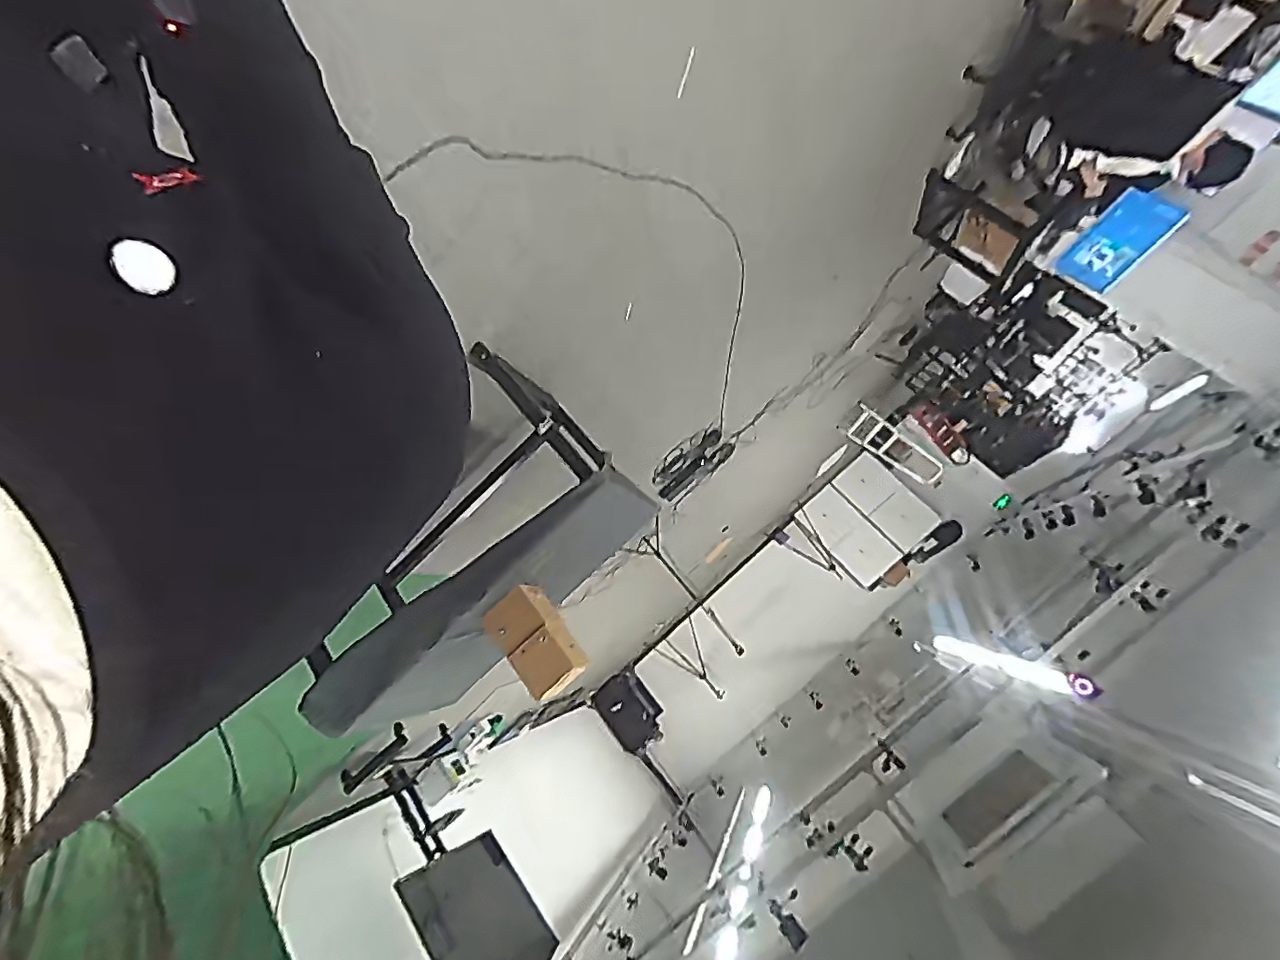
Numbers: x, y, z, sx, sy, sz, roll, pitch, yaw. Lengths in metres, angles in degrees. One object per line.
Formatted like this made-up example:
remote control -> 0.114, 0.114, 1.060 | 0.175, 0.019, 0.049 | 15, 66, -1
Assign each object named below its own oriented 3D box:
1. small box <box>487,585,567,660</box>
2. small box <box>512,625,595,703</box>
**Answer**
small box -> -0.385, 0.476, 1.813 | 0.179, 0.176, 0.168 | -44, 161, 1
small box -> -0.281, 0.588, 1.751 | 0.168, 0.176, 0.179 | -44, 159, 4
